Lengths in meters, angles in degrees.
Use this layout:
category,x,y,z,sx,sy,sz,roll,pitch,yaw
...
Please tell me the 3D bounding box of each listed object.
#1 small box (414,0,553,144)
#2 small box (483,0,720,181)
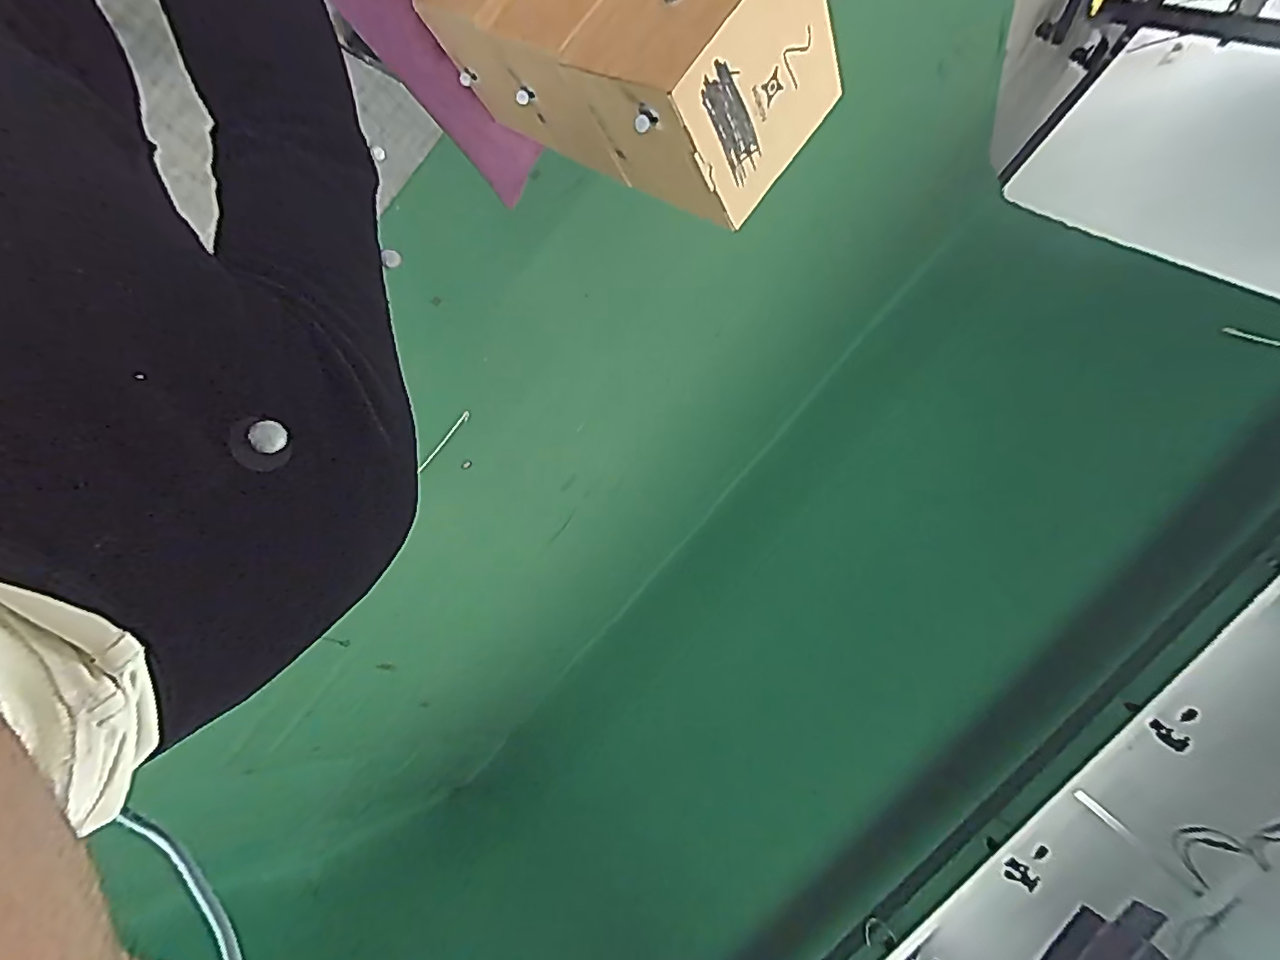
category,x,y,z,sx,sy,sz,roll,pitch,yaw
small box,-0.150,-0.588,0.696,0.168,0.176,0.179,-49,150,2
small box,-0.043,-0.493,0.616,0.179,0.176,0.168,-48,149,3
